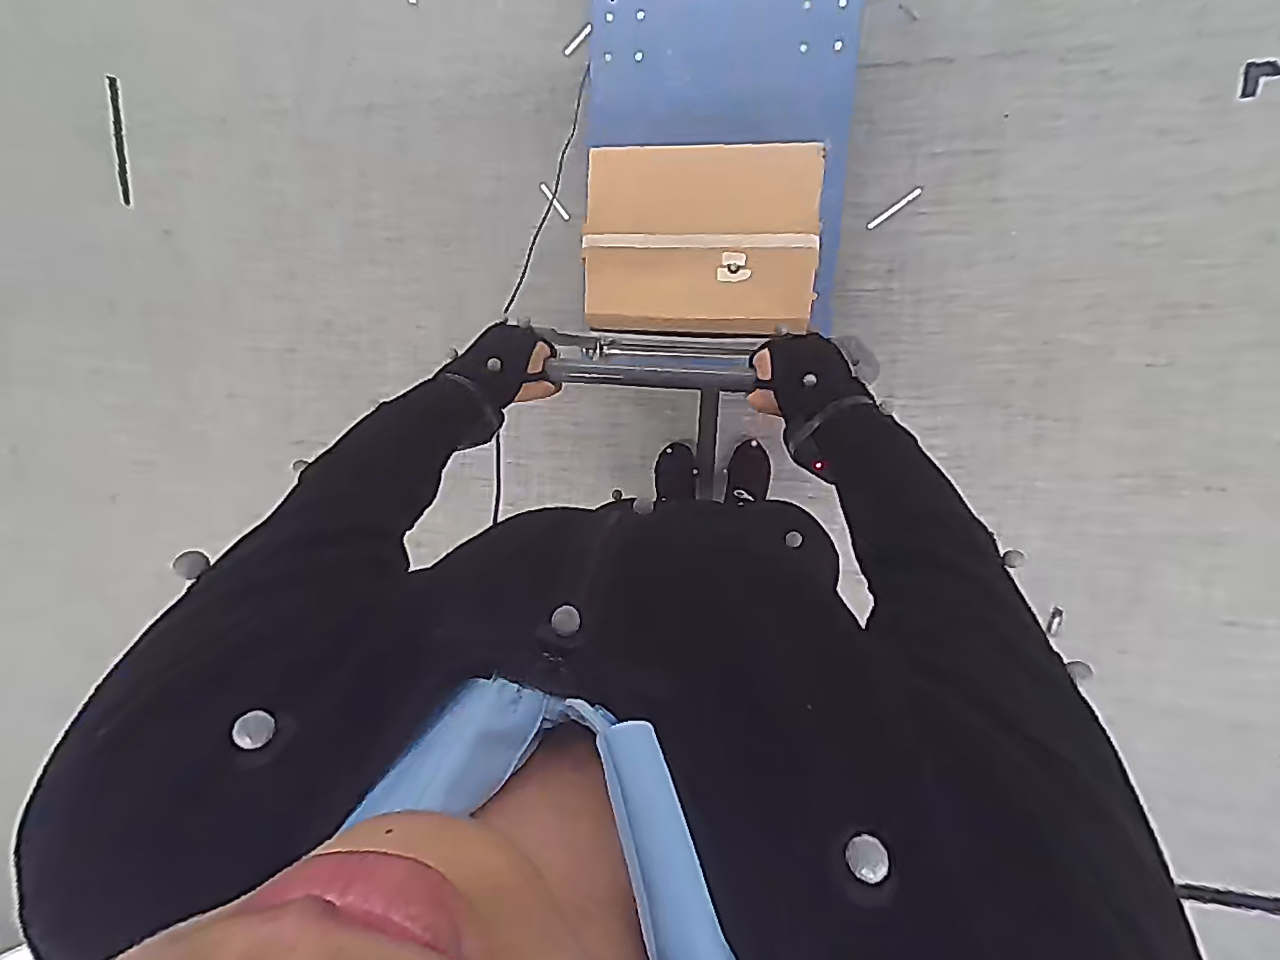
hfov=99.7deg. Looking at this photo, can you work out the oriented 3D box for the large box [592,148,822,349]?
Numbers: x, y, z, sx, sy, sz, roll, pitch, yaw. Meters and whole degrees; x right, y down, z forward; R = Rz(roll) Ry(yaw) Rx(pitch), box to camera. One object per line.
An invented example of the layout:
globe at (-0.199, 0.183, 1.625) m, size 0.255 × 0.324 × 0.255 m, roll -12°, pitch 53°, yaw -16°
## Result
large box at (0.129, -0.441, 1.109) m, size 0.408 × 0.320 × 0.320 m, roll 4°, pitch 100°, yaw 9°
